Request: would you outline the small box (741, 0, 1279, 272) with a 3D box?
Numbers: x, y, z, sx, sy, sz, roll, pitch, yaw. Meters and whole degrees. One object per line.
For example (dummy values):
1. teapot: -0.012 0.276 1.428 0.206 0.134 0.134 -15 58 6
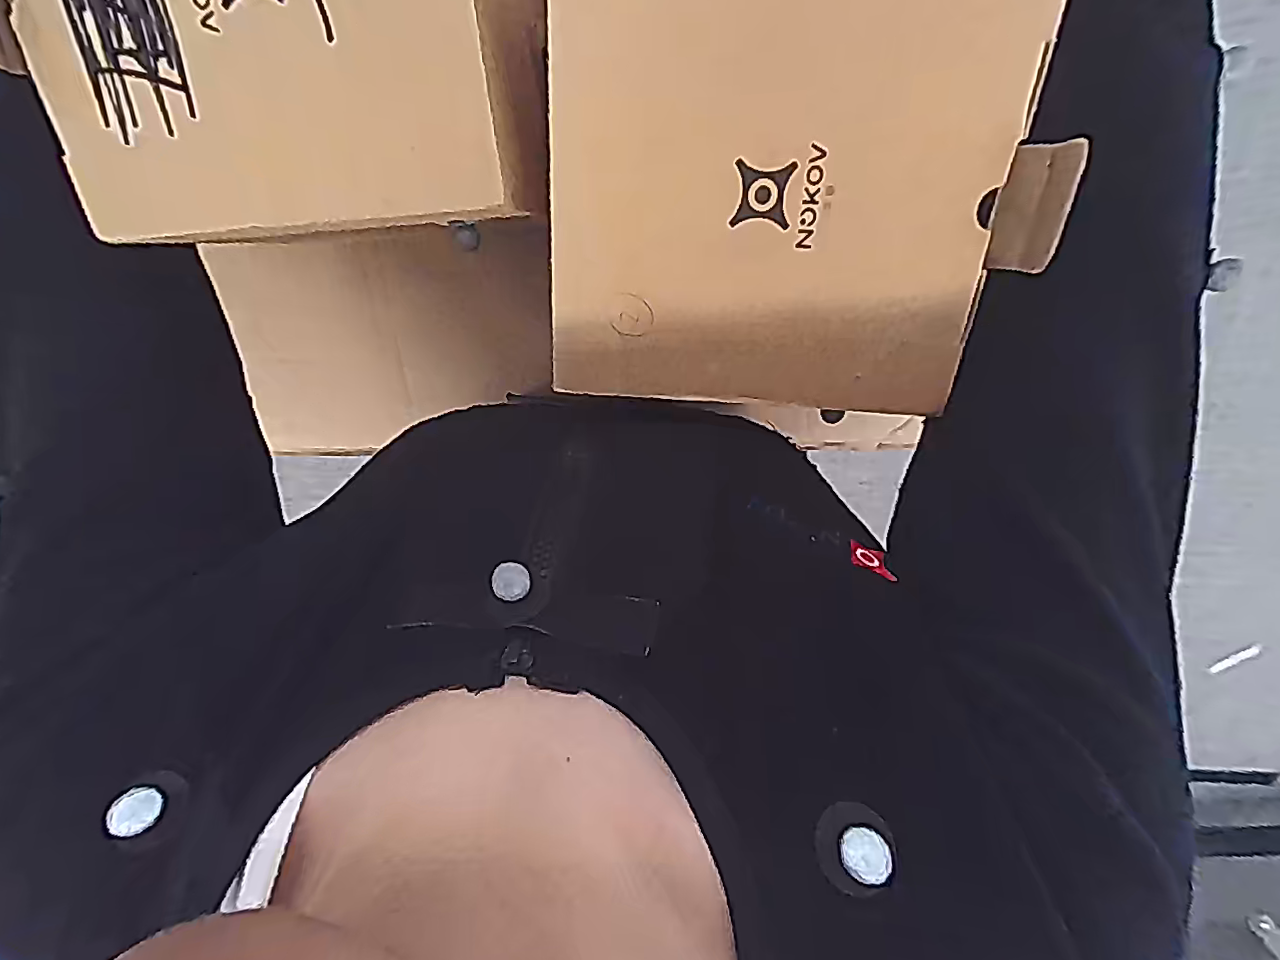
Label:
1. small box: 0.157 -0.204 0.232 0.179 0.176 0.168 16 120 -5
